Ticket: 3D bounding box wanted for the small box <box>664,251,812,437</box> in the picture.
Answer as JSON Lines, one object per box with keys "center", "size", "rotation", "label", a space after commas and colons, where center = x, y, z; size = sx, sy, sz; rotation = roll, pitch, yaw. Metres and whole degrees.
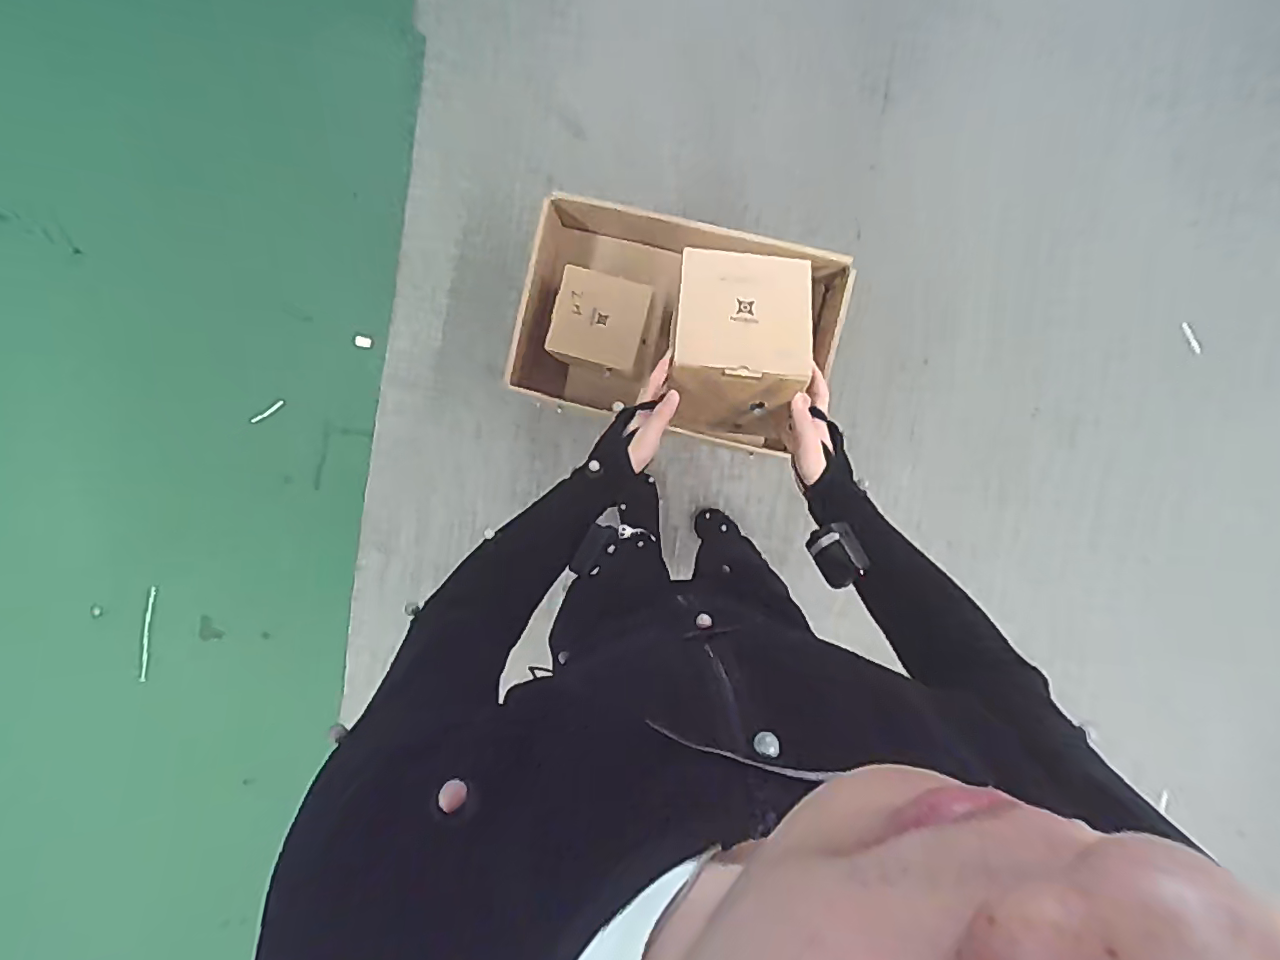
{"center": [0.124, -0.172, 0.725], "size": [0.168, 0.176, 0.179], "rotation": [6, 69, 0], "label": "small box"}
